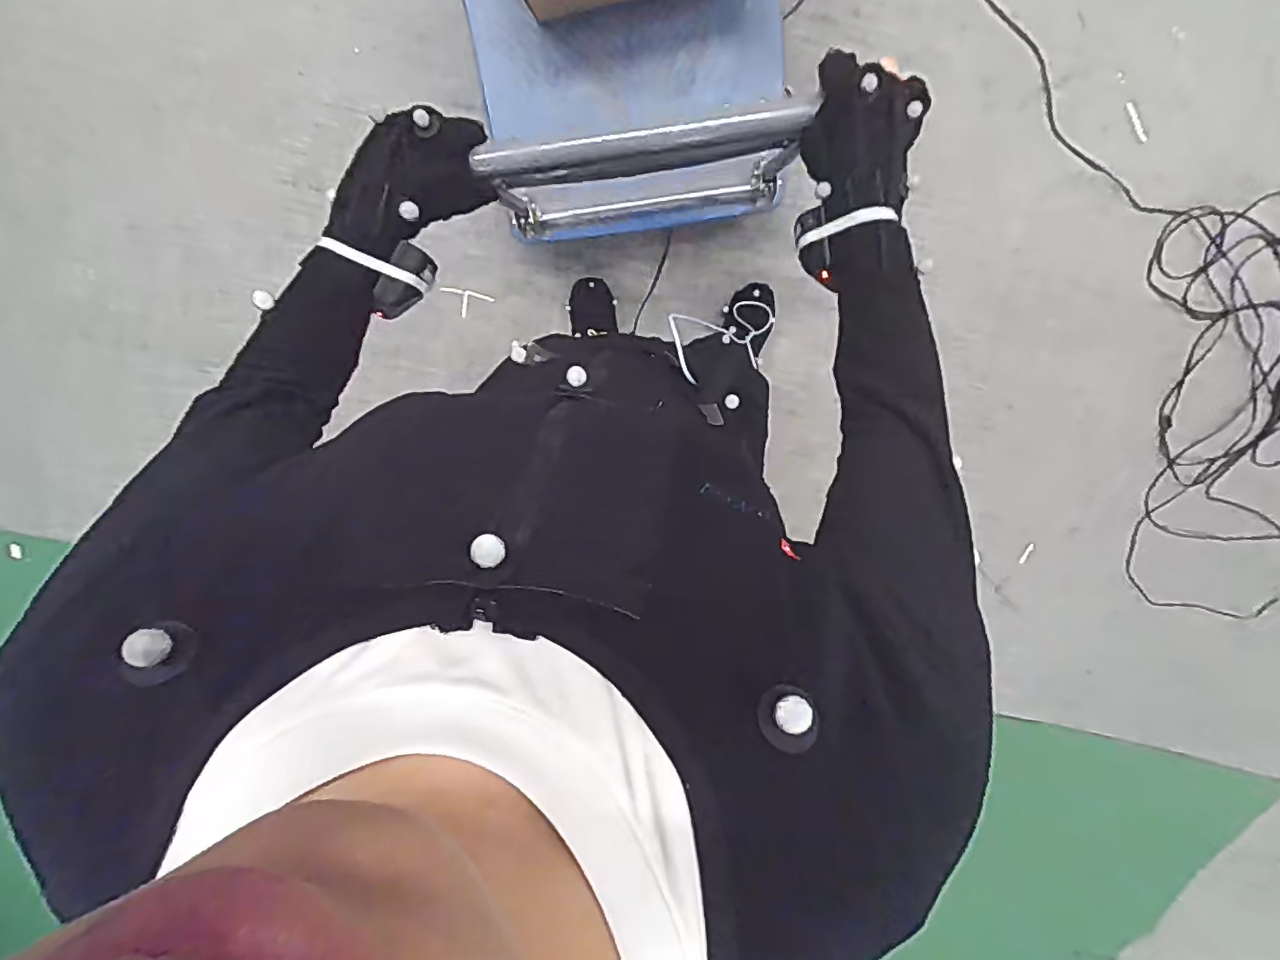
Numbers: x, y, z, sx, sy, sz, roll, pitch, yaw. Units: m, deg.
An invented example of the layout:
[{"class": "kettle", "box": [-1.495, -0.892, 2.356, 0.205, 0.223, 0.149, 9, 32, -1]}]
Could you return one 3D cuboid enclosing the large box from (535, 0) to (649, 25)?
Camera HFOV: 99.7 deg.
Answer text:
[{"class": "large box", "box": [-0.009, -0.950, 0.793, 0.408, 0.320, 0.320, -9, 113, 6]}]
